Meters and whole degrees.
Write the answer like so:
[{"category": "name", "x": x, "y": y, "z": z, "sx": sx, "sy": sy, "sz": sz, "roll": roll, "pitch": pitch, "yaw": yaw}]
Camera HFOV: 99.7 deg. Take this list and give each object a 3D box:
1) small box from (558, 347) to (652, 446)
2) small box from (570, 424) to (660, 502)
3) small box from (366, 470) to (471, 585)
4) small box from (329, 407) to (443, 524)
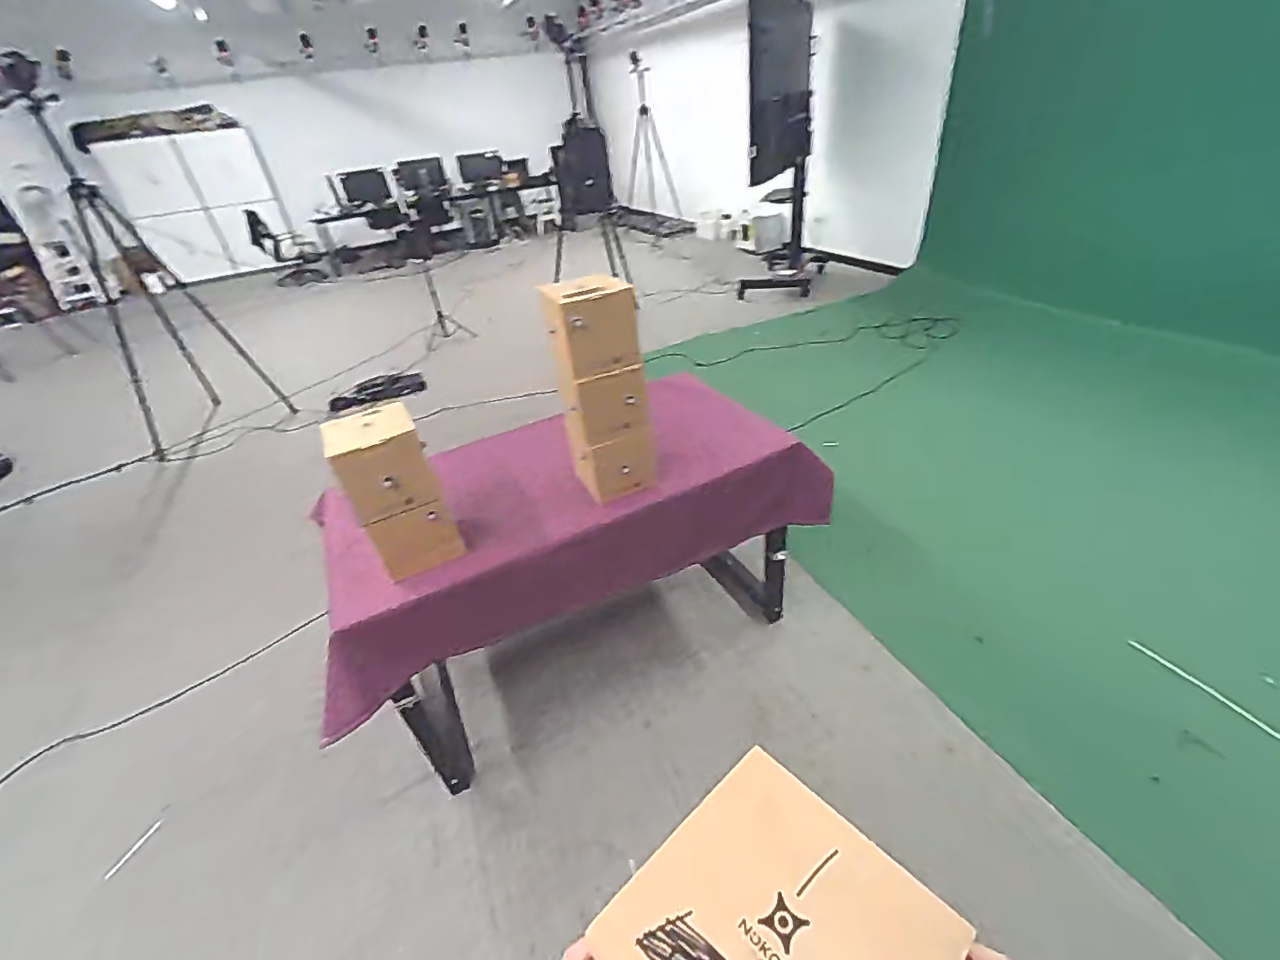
[{"category": "small box", "x": -0.082, "y": -0.198, "z": 1.300, "sx": 0.168, "sy": 0.176, "sz": 0.179, "roll": -19, "pitch": 35, "yaw": -16}, {"category": "small box", "x": -0.061, "y": -0.062, "z": 1.388, "sx": 0.168, "sy": 0.176, "sz": 0.179, "roll": -20, "pitch": 35, "yaw": -18}, {"category": "small box", "x": -0.509, "y": 0.109, "z": 1.237, "sx": 0.179, "sy": 0.176, "sz": 0.168, "roll": -22, "pitch": 36, "yaw": -20}, {"category": "small box", "x": -0.534, "y": -0.027, "z": 1.147, "sx": 0.168, "sy": 0.176, "sz": 0.179, "roll": -22, "pitch": 36, "yaw": -21}]
